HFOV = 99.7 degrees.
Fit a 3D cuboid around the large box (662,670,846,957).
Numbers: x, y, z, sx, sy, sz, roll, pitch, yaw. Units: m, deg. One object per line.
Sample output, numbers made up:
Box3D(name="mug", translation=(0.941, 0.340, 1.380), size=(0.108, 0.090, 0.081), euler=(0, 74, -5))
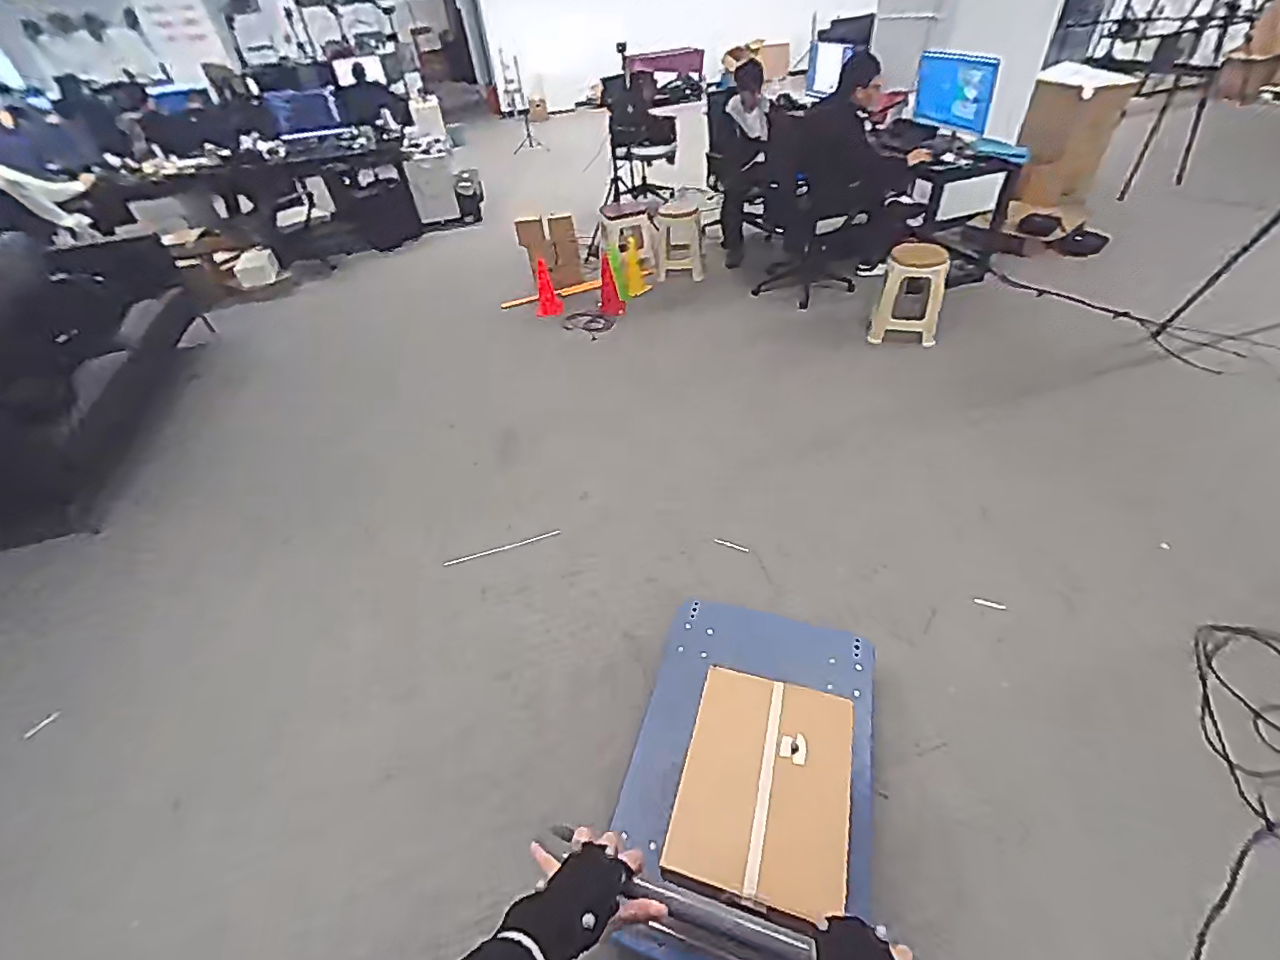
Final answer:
Box3D(name="large box", translation=(0.253, 0.700, 1.165), size=(0.320, 0.320, 0.408), euler=(10, 43, 16))
